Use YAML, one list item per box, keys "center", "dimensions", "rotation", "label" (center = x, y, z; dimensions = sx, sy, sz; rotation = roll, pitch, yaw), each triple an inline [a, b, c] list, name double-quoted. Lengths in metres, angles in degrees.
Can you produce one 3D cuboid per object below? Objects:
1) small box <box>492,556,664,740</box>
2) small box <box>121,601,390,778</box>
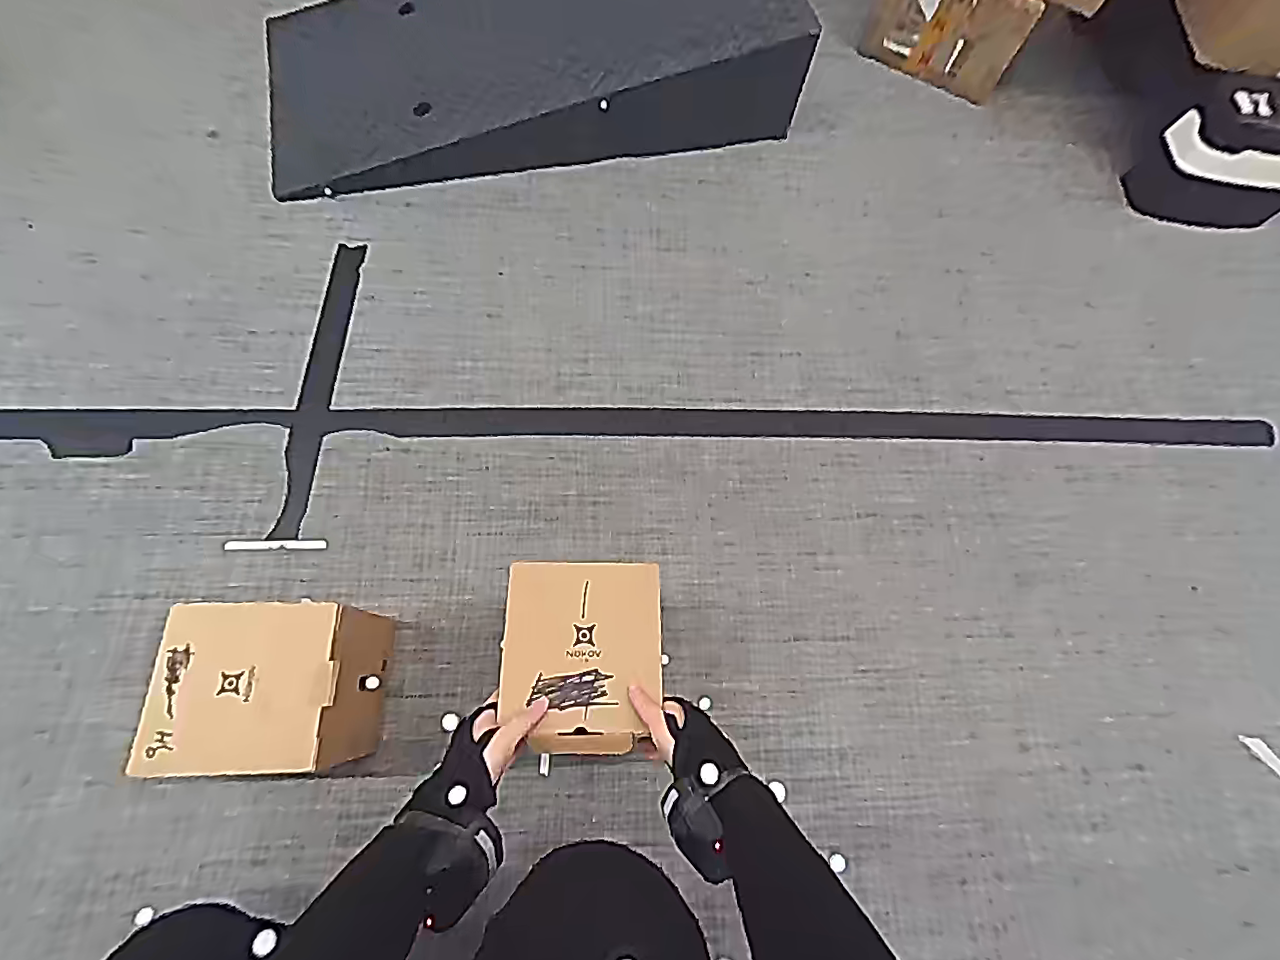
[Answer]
- center: [-0.062, 0.196, 0.618]
  dimensions: [0.168, 0.176, 0.179]
  rotation: [3, 65, -4]
  label: "small box"
- center: [-0.408, 0.232, 0.614]
  dimensions: [0.179, 0.176, 0.168]
  rotation: [2, 70, -4]
  label: "small box"
